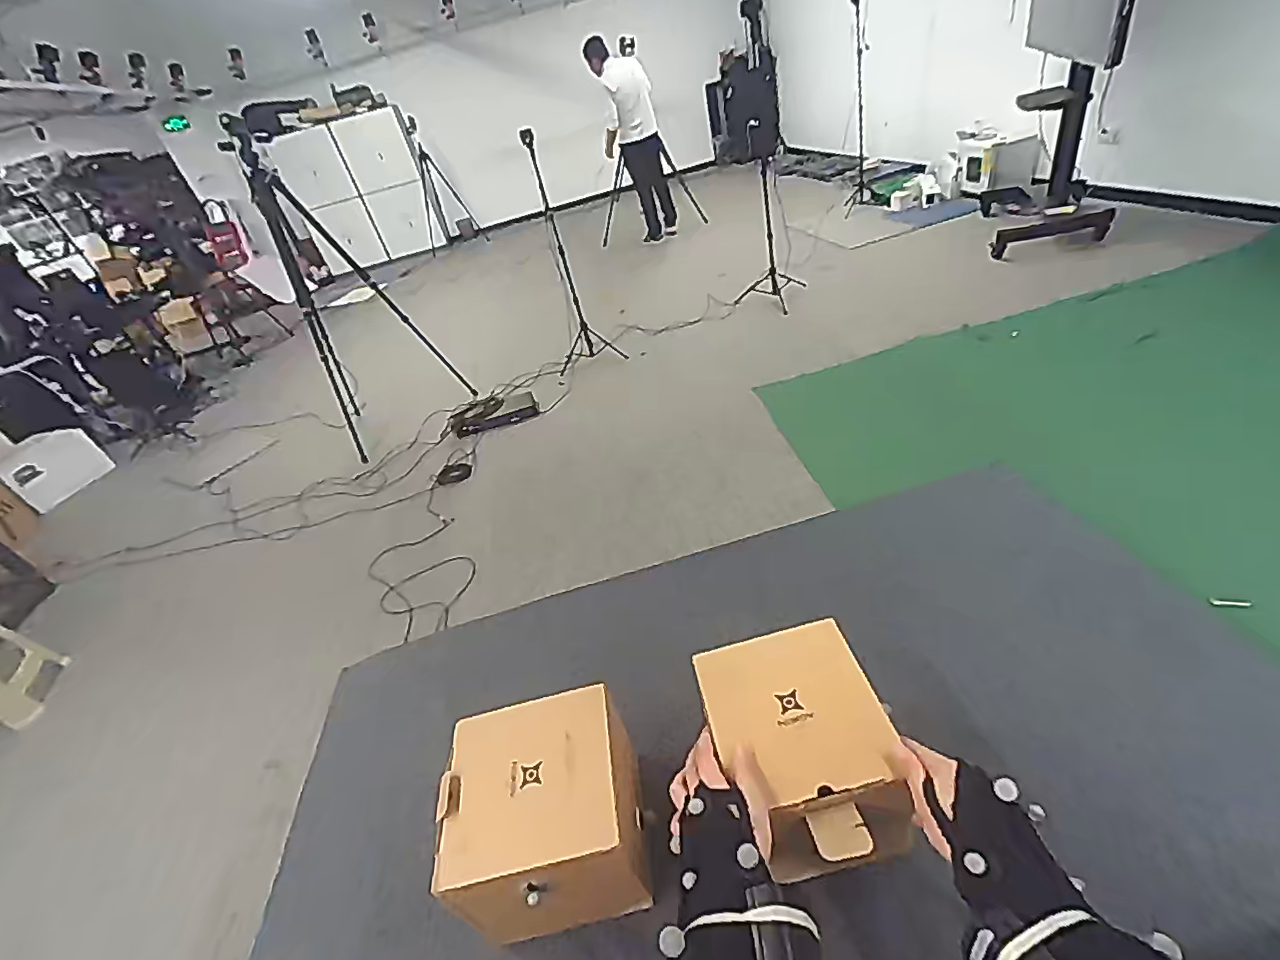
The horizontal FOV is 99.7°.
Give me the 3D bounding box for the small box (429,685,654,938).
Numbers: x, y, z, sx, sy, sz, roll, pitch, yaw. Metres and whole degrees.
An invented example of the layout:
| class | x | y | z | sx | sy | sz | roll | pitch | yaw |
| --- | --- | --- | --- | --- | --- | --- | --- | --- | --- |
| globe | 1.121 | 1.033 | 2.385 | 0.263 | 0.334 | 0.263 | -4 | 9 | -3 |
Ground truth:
| class | x | y | z | sx | sy | sz | roll | pitch | yaw |
| --- | --- | --- | --- | --- | --- | --- | --- | --- | --- |
| small box | -0.095 | 0.357 | 0.583 | 0.179 | 0.176 | 0.168 | -14 | 36 | 1 |
